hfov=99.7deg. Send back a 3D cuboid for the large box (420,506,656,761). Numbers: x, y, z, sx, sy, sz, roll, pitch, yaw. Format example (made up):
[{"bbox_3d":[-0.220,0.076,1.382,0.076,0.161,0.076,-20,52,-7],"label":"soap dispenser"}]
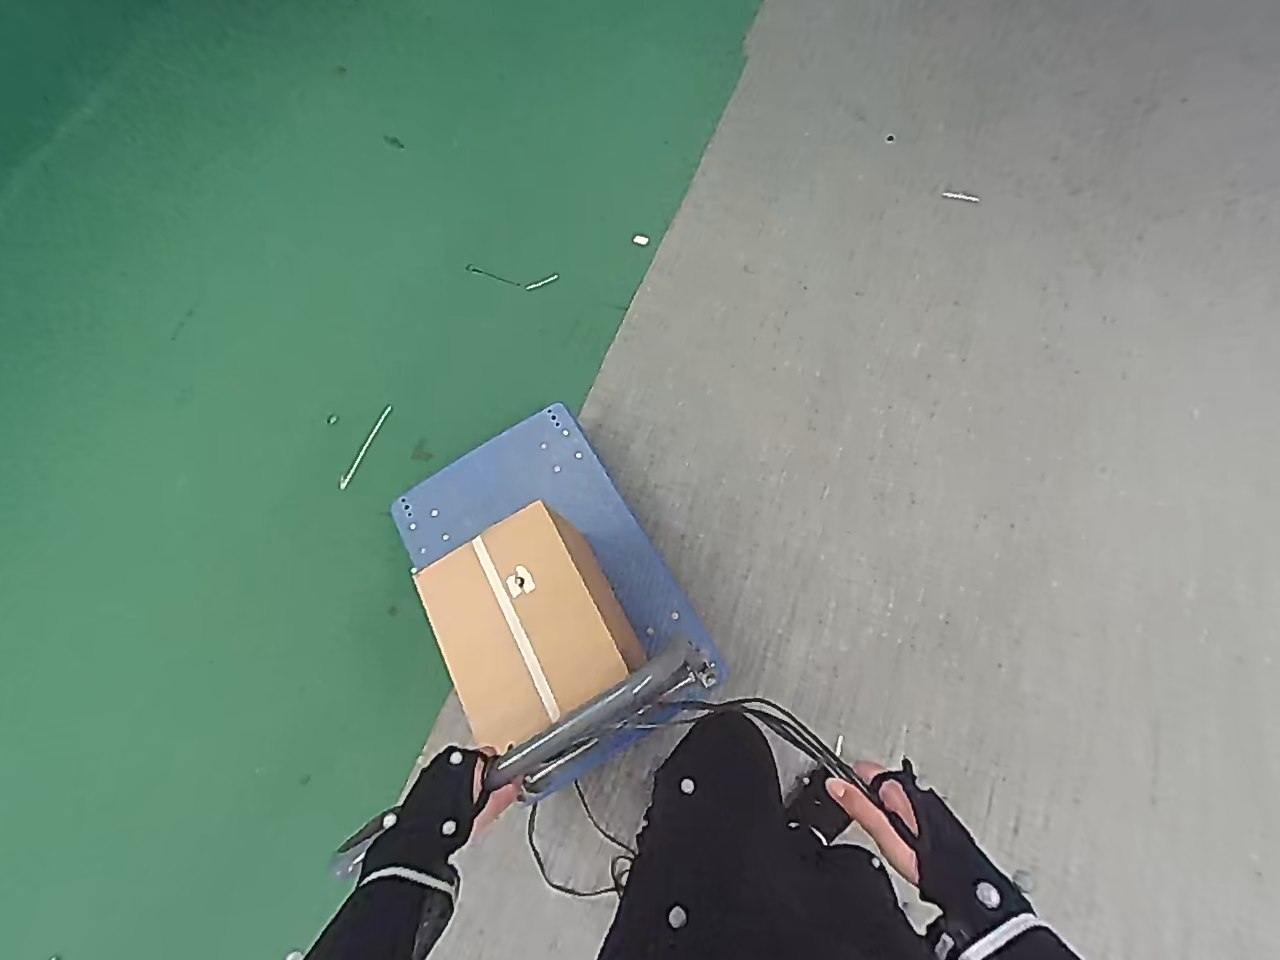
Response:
[{"bbox_3d":[-0.211,0.334,1.203,0.320,0.320,0.408,-31,68,-2],"label":"large box"}]
